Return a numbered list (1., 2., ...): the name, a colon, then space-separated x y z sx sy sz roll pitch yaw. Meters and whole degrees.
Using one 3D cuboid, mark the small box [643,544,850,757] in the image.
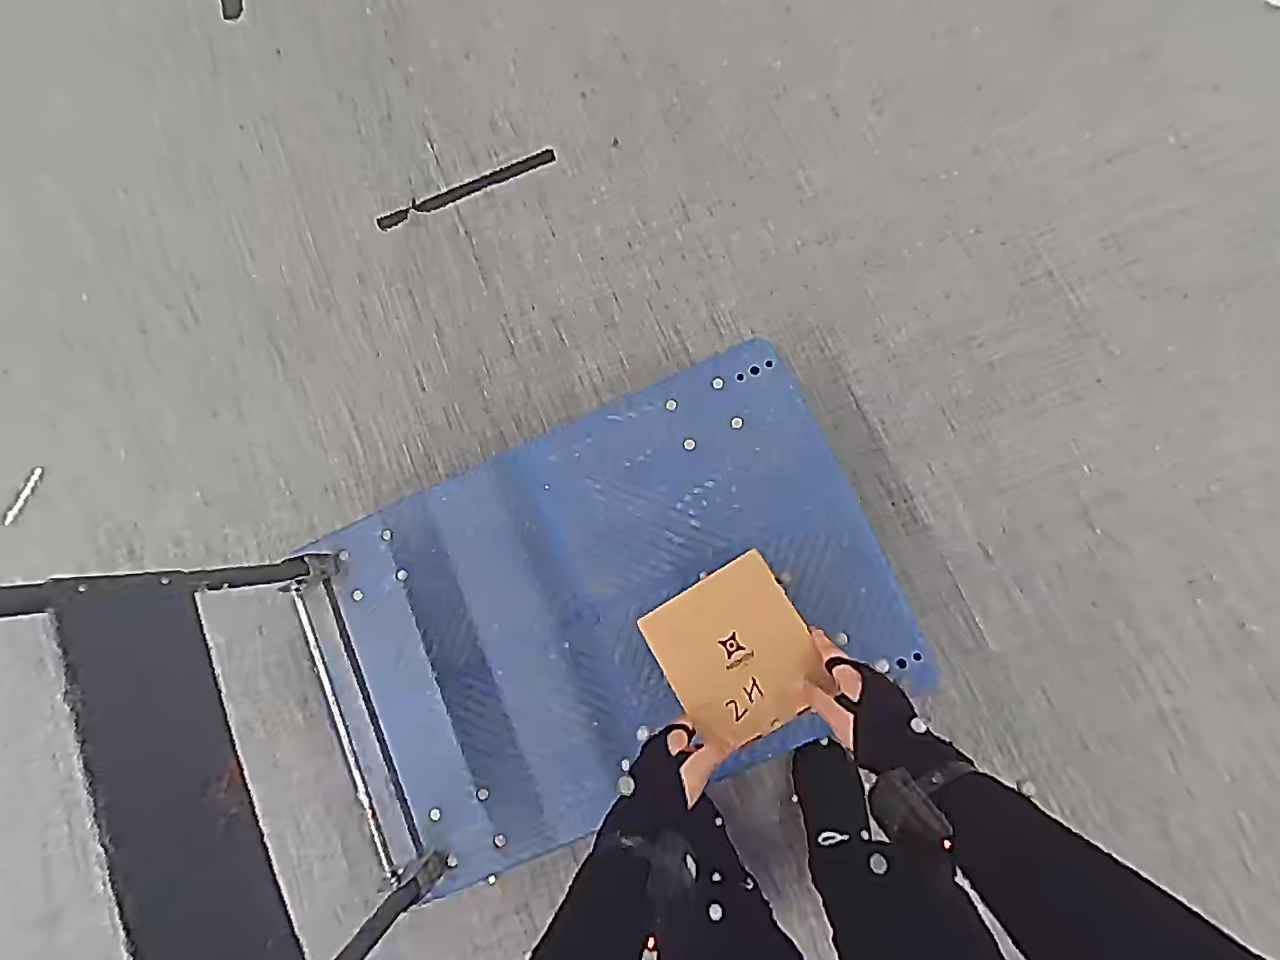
1. small box: 0.130 0.203 0.670 0.168 0.176 0.179 -34 71 6
